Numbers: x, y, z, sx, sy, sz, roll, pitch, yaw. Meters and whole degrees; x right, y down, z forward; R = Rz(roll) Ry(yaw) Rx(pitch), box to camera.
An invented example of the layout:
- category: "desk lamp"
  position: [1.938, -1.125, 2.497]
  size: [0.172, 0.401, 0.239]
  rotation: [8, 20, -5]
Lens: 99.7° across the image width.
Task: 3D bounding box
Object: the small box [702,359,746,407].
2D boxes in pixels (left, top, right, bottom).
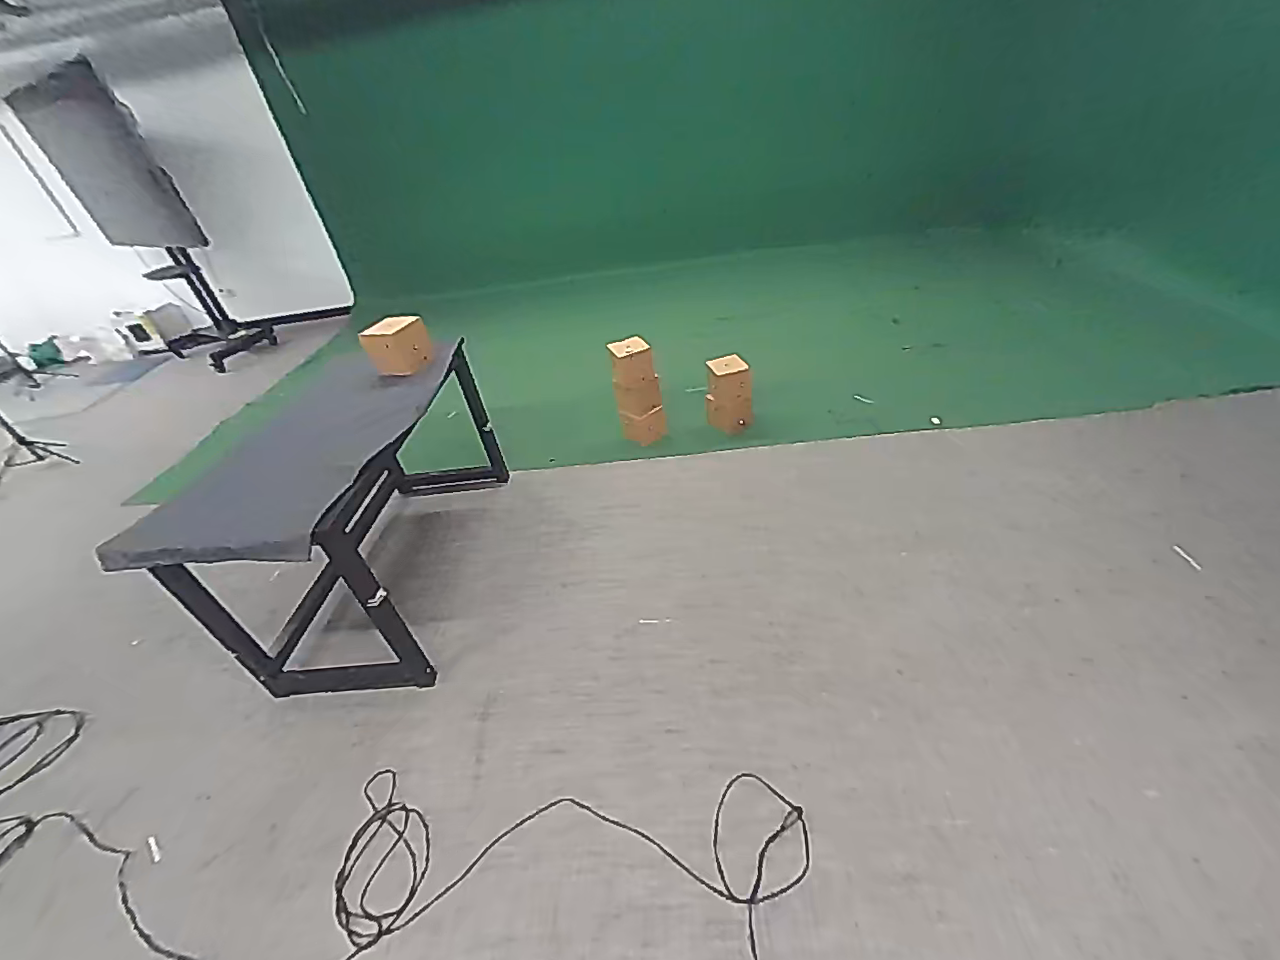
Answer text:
- category: "small box"
  position: [0.419, -0.476, 2.677]
  size: [0.168, 0.176, 0.179]
  rotation: [-15, 36, -8]

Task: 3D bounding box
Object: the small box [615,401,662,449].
- category: "small box"
  position: [-0.002, -0.281, 2.799]
  size: [0.168, 0.176, 0.179]
  rotation: [-34, 42, -28]

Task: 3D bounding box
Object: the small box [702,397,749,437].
- category: "small box"
  position: [0.439, -0.342, 2.766]
  size: [0.168, 0.176, 0.179]
  rotation: [-29, 41, -24]

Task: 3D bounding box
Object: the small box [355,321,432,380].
- category: "small box"
  position: [-0.939, -0.496, 2.077]
  size: [0.179, 0.176, 0.168]
  rotation: [5, 39, 24]

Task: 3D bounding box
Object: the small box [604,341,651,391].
- category: "small box"
  position: [-0.059, -0.552, 2.620]
  size: [0.168, 0.176, 0.179]
  rotation: [-21, 37, -13]
